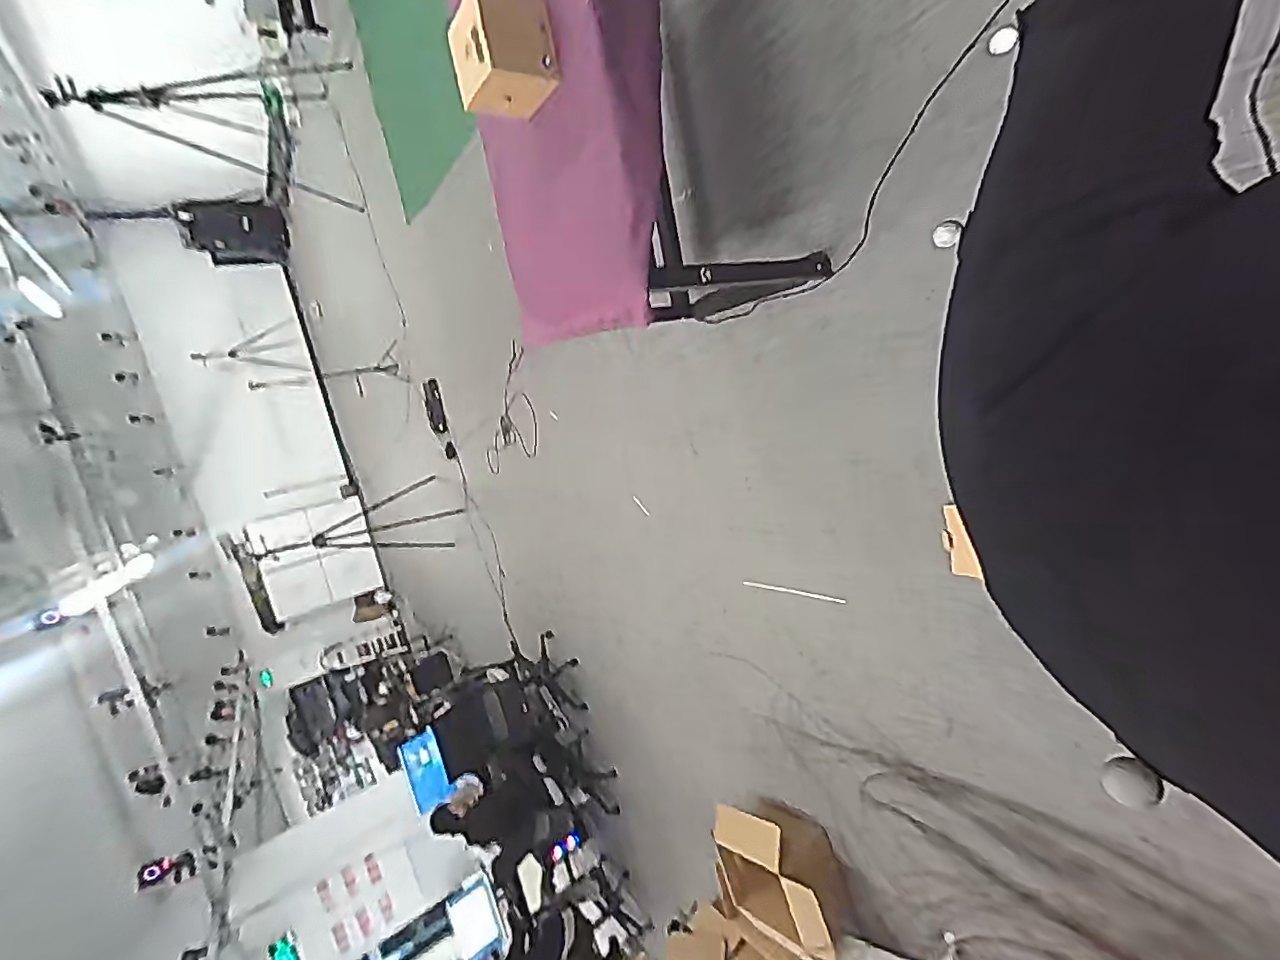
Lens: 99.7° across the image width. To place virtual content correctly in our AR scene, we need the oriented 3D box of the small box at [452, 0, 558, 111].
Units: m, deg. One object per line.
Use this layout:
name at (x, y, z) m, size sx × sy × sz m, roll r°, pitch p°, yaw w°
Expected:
small box at (-0.298, -0.967, 1.218) m, size 0.179 × 0.176 × 0.168 m, roll 5°, pitch 109°, yaw 54°
